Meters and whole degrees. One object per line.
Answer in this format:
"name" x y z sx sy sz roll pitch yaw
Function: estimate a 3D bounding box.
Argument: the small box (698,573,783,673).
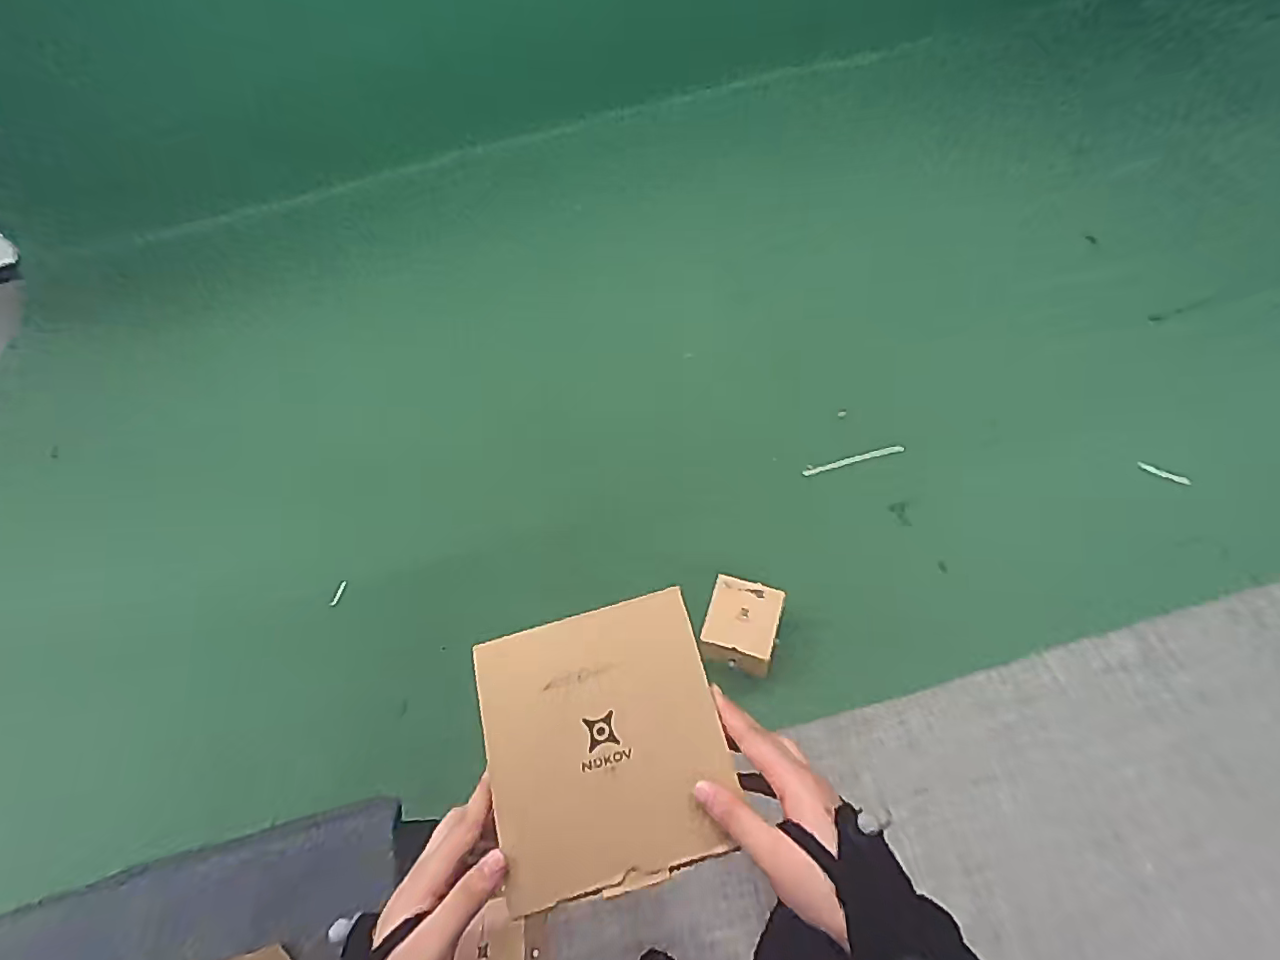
"small box" 0.251 0.360 1.345 0.168 0.176 0.179 14 62 17

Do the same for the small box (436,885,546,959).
"small box" -0.287 0.926 1.065 0.168 0.176 0.179 -11 57 1
